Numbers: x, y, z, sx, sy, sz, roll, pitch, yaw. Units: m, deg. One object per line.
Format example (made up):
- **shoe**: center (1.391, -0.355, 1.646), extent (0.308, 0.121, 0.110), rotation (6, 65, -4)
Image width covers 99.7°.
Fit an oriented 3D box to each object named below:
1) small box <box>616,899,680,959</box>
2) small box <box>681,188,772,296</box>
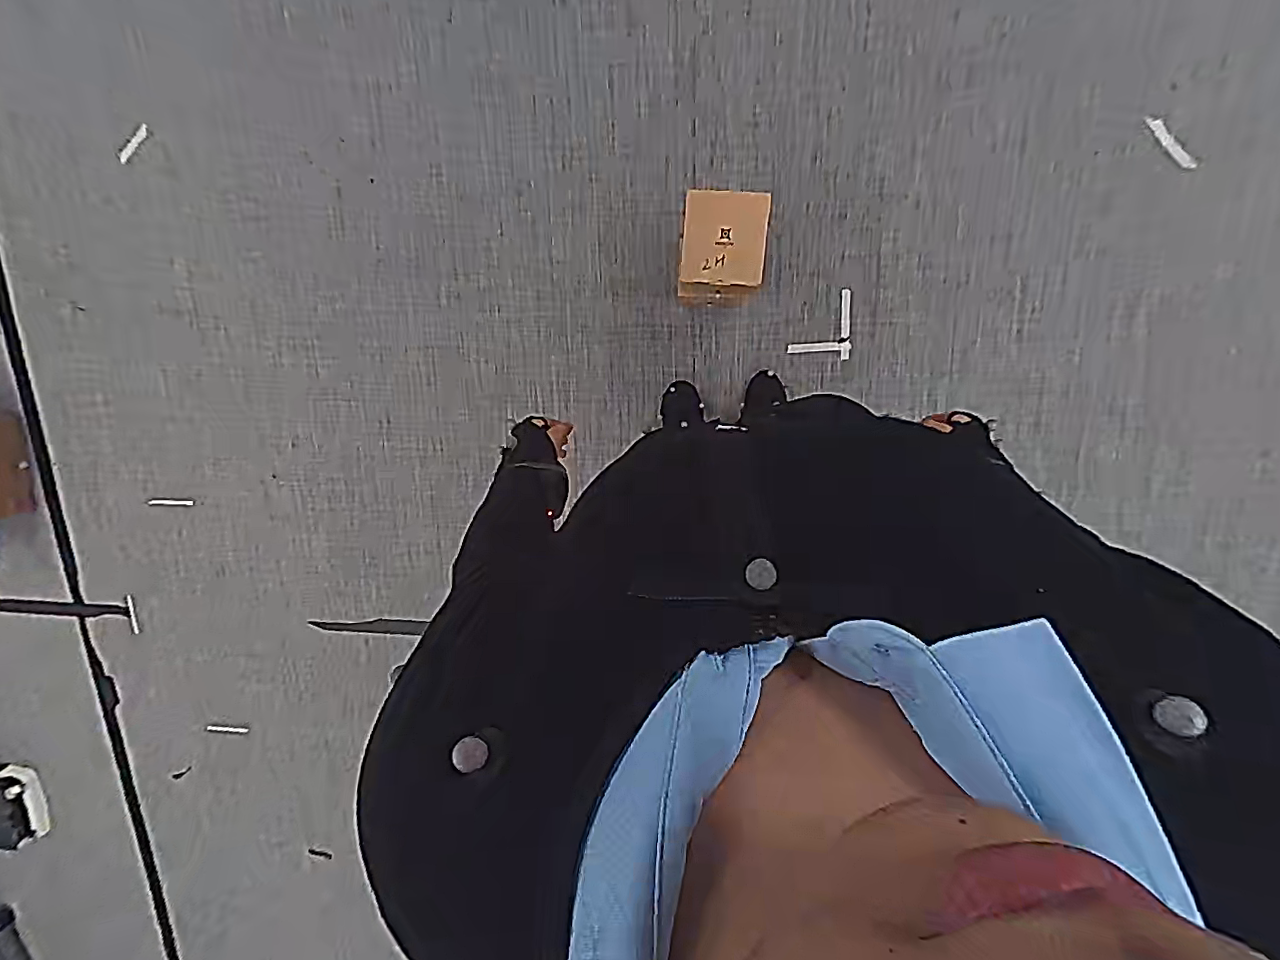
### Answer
- **small box**: center (0.027, 1.342, 1.530), extent (0.168, 0.176, 0.179), rotation (-1, 102, 6)
- **small box**: center (0.178, -0.495, 1.145), extent (0.168, 0.176, 0.179), rotation (6, 103, 6)
